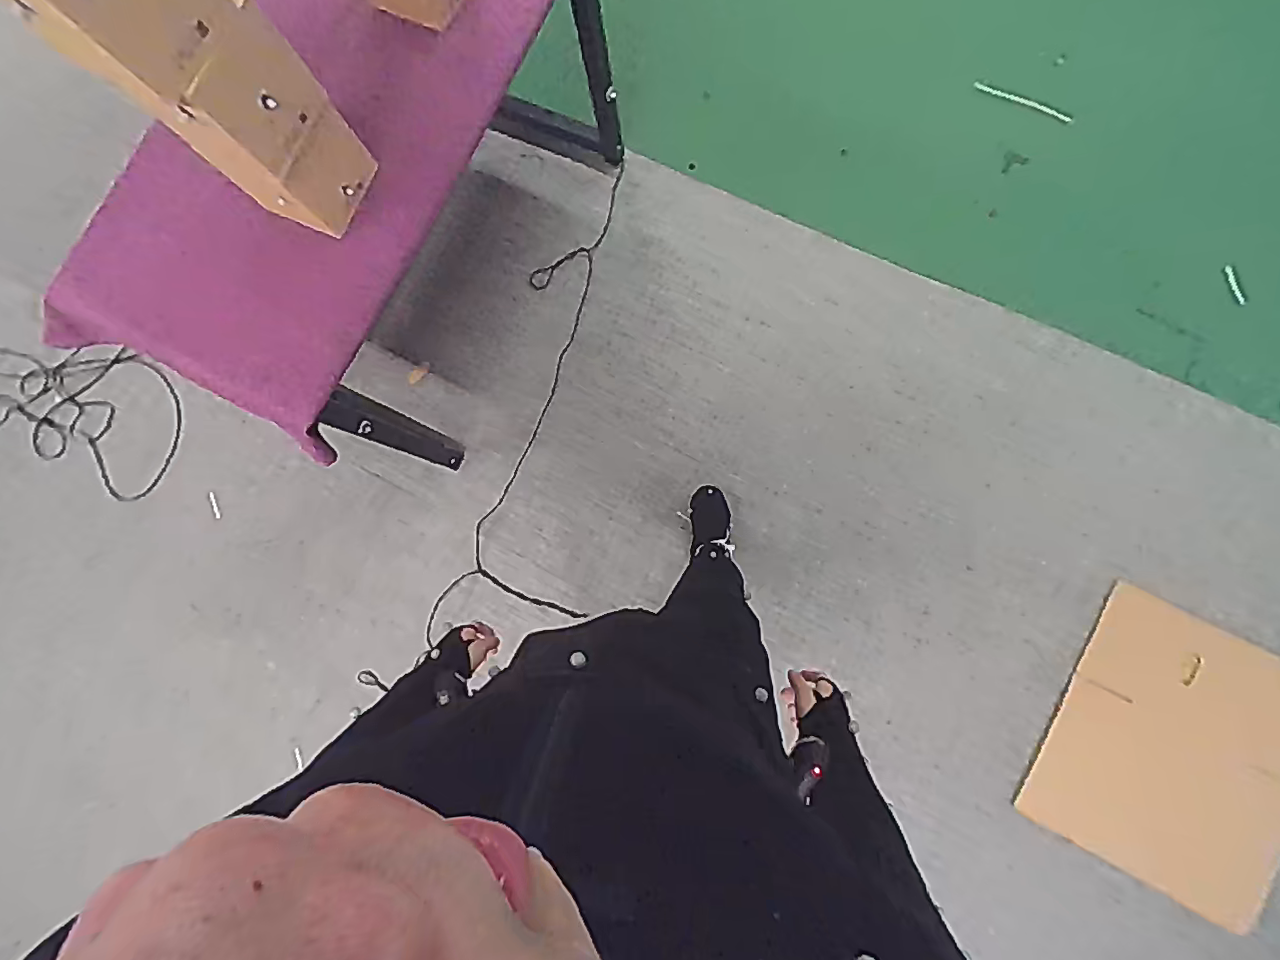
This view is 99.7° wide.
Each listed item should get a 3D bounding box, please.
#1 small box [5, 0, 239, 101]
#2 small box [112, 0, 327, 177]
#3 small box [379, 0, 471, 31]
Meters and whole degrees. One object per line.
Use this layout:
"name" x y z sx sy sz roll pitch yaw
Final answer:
"small box" -0.635 -0.593 0.629 0.179 0.176 0.168 27 86 8
"small box" -0.609 -0.585 0.792 0.179 0.176 0.168 25 85 8
"small box" -0.417 -0.986 0.993 0.179 0.176 0.168 28 87 9
